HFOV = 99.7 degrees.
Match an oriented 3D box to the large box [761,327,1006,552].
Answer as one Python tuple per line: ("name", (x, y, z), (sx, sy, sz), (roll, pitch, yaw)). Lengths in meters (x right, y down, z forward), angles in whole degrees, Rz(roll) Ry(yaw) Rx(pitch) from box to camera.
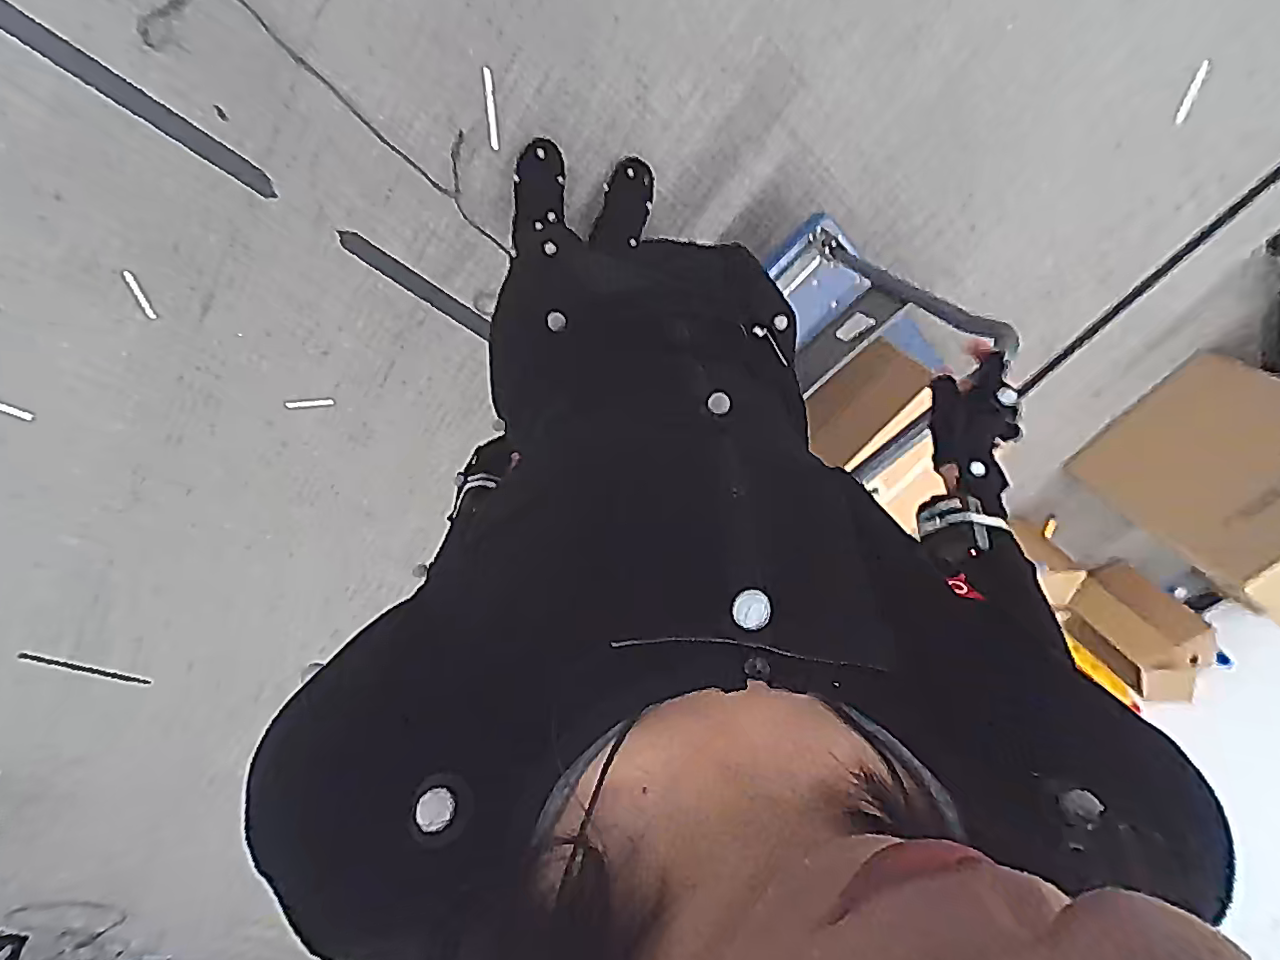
("large box", (0.586, -0.101, 1.367), (0.320, 0.320, 0.408), (27, 117, -25))
